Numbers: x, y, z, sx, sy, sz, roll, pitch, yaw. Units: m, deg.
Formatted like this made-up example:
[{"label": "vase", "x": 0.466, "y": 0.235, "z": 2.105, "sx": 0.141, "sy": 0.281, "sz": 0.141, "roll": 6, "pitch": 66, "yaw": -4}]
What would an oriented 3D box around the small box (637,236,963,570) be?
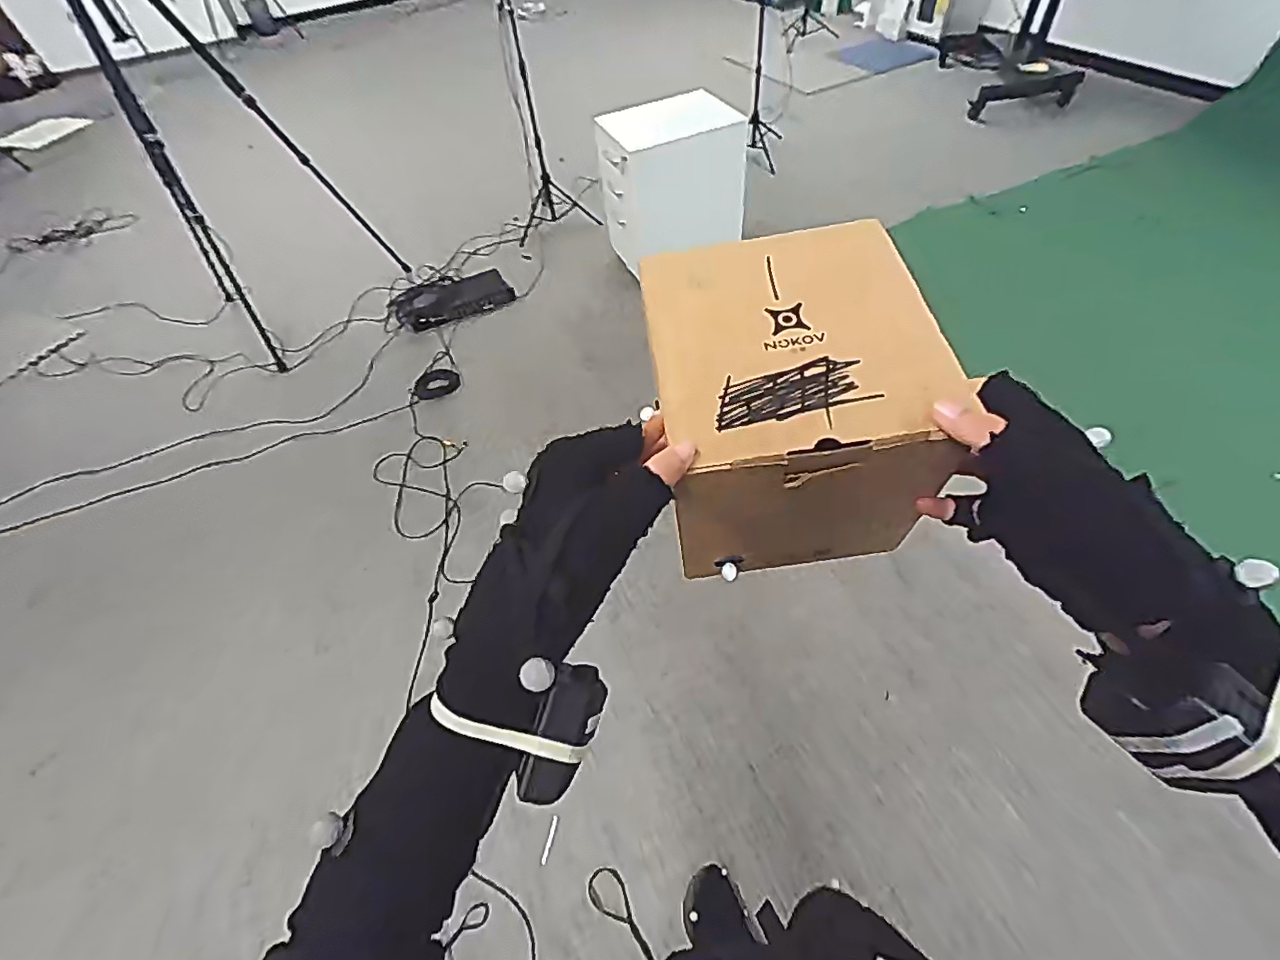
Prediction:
[{"label": "small box", "x": 0.095, "y": -0.042, "z": 0.401, "sx": 0.168, "sy": 0.176, "sz": 0.179, "roll": -8, "pitch": 59, "yaw": 3}]
